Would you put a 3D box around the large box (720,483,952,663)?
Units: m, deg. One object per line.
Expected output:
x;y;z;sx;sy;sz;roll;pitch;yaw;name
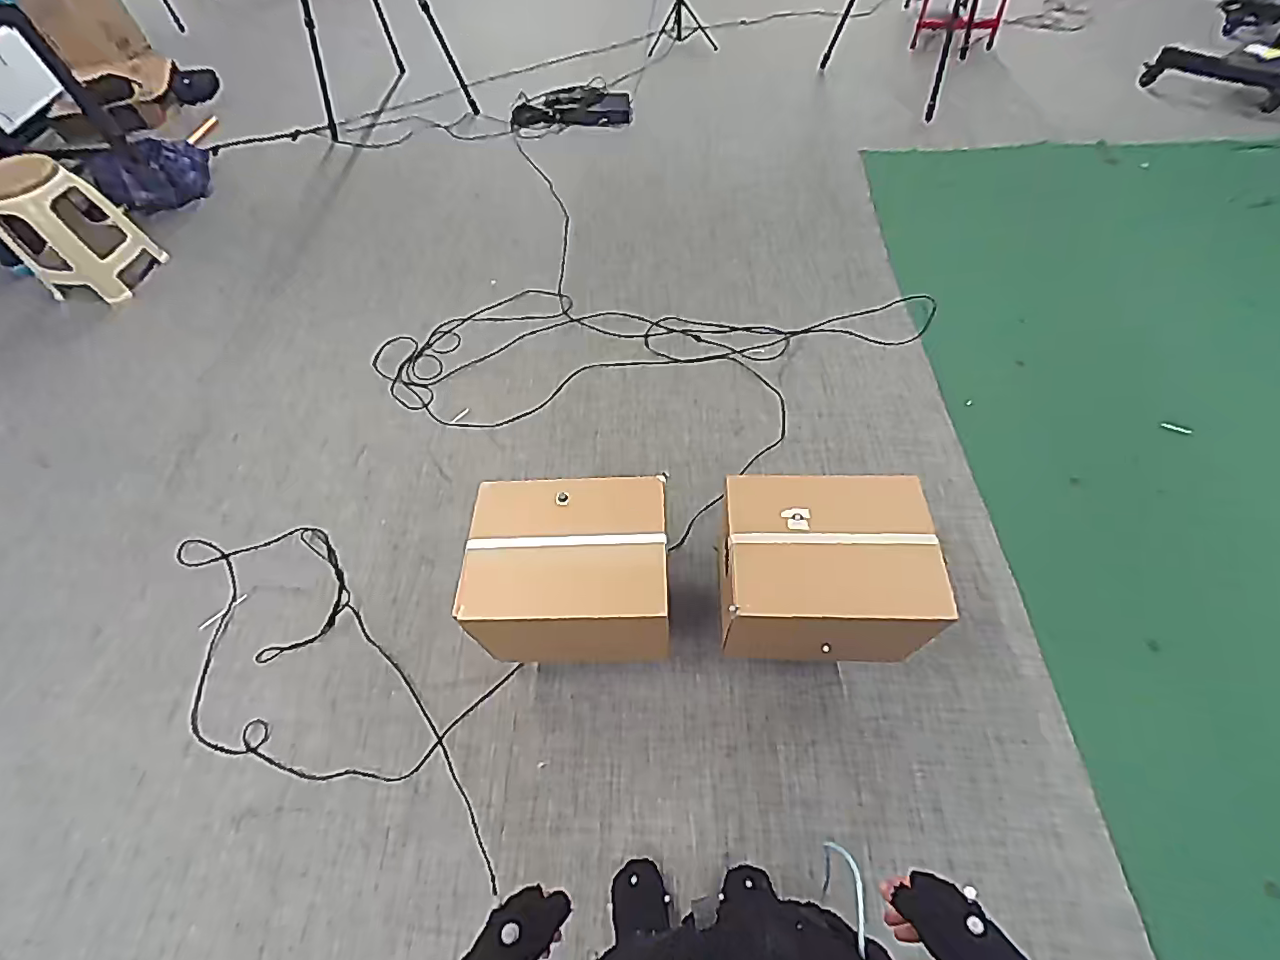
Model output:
0.394;0.218;1.210;0.408;0.320;0.320;0;57;4;large box
